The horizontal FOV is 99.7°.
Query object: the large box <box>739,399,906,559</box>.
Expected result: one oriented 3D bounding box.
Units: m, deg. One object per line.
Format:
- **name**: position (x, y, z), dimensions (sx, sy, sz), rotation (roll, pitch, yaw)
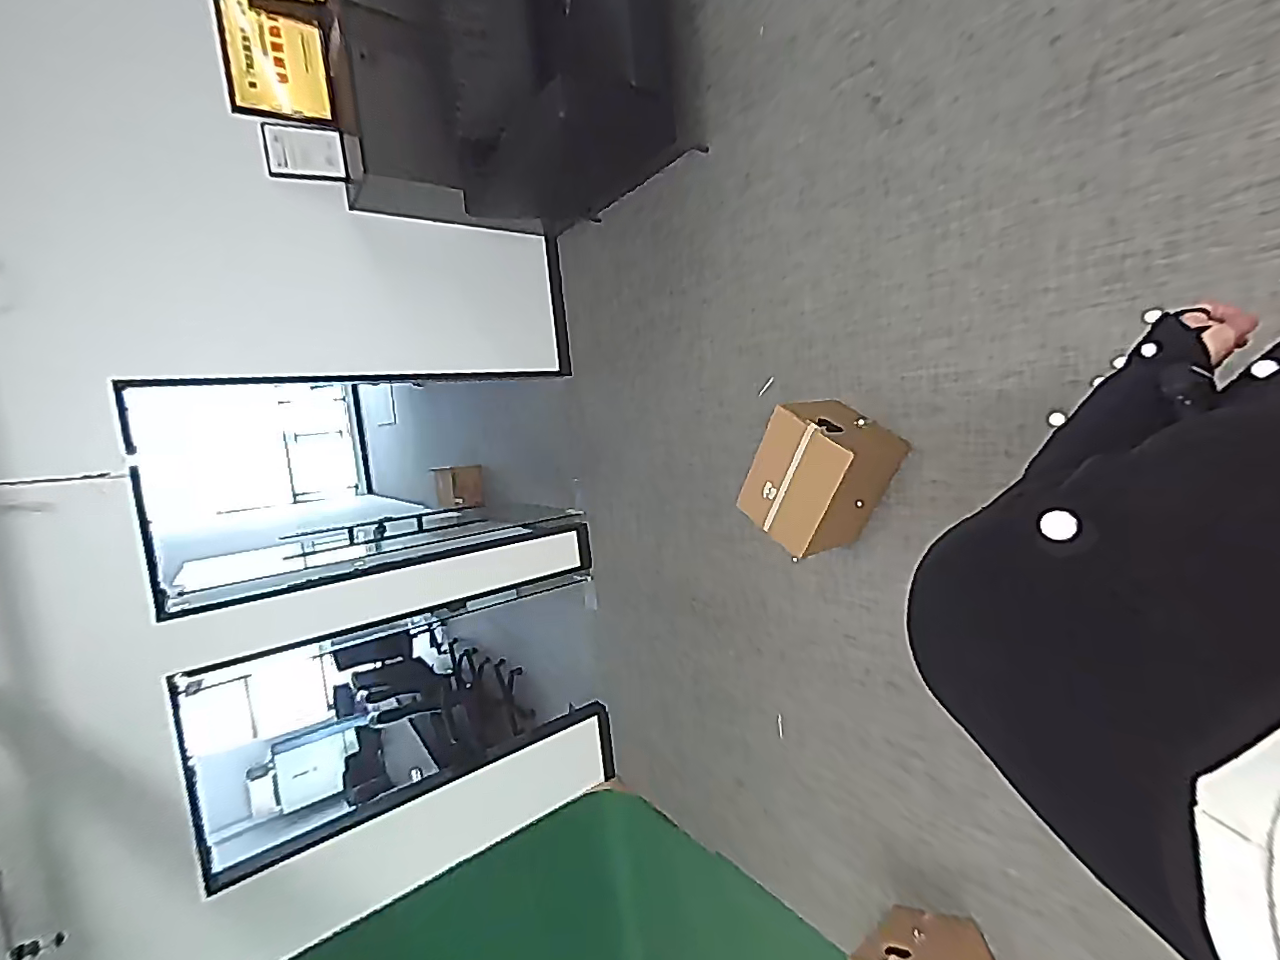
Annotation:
- **large box**: position (0.593, -0.018, 1.793), dimensions (0.320, 0.320, 0.408), rotation (45, 132, 39)
